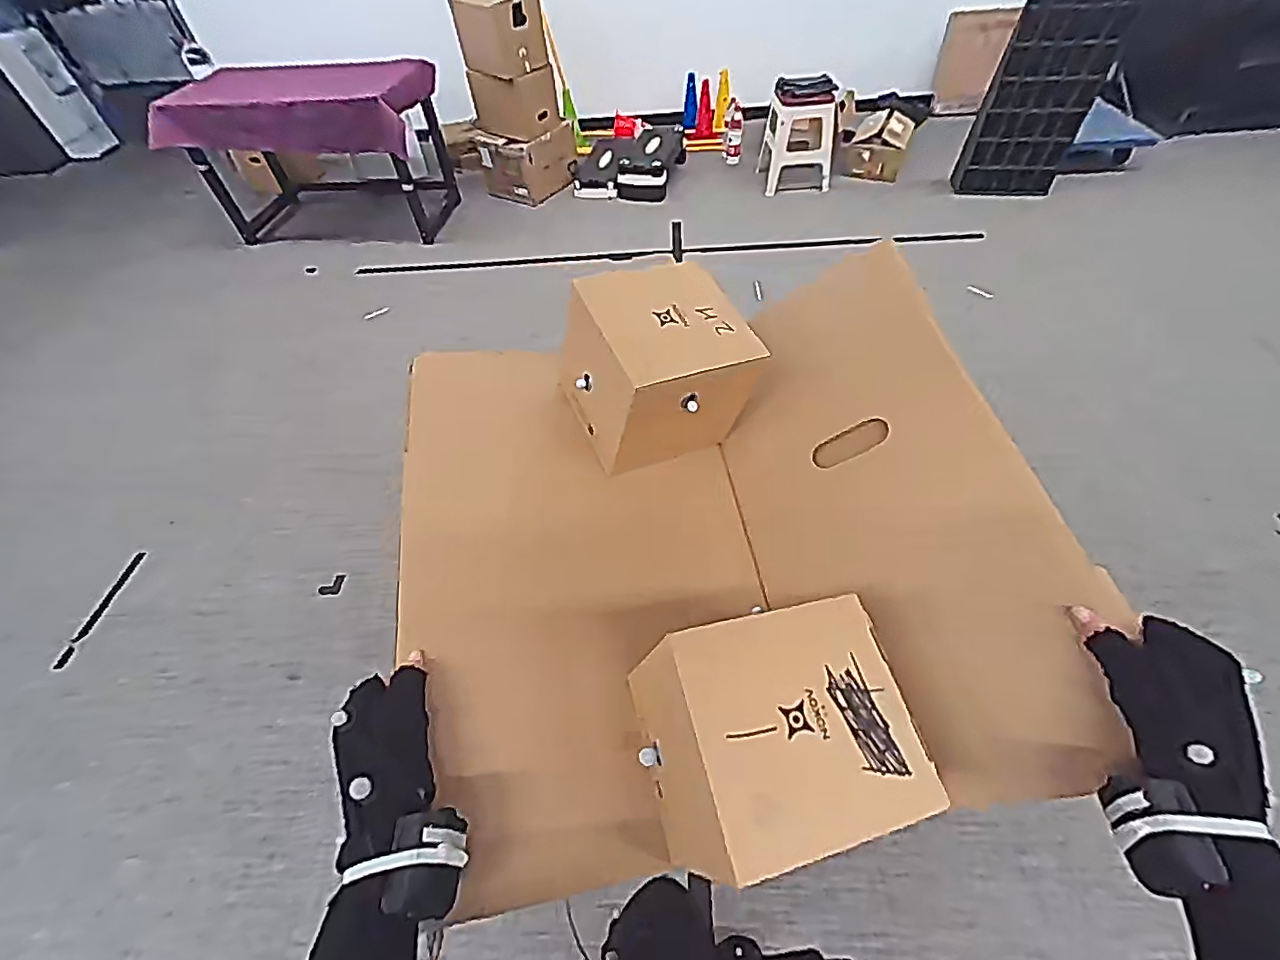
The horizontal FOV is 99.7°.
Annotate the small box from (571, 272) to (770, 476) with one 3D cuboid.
[{"bbox_3d":[0.022,-0.126,0.668,0.179,0.176,0.168,-17,64,-23],"label":"small box"}]
